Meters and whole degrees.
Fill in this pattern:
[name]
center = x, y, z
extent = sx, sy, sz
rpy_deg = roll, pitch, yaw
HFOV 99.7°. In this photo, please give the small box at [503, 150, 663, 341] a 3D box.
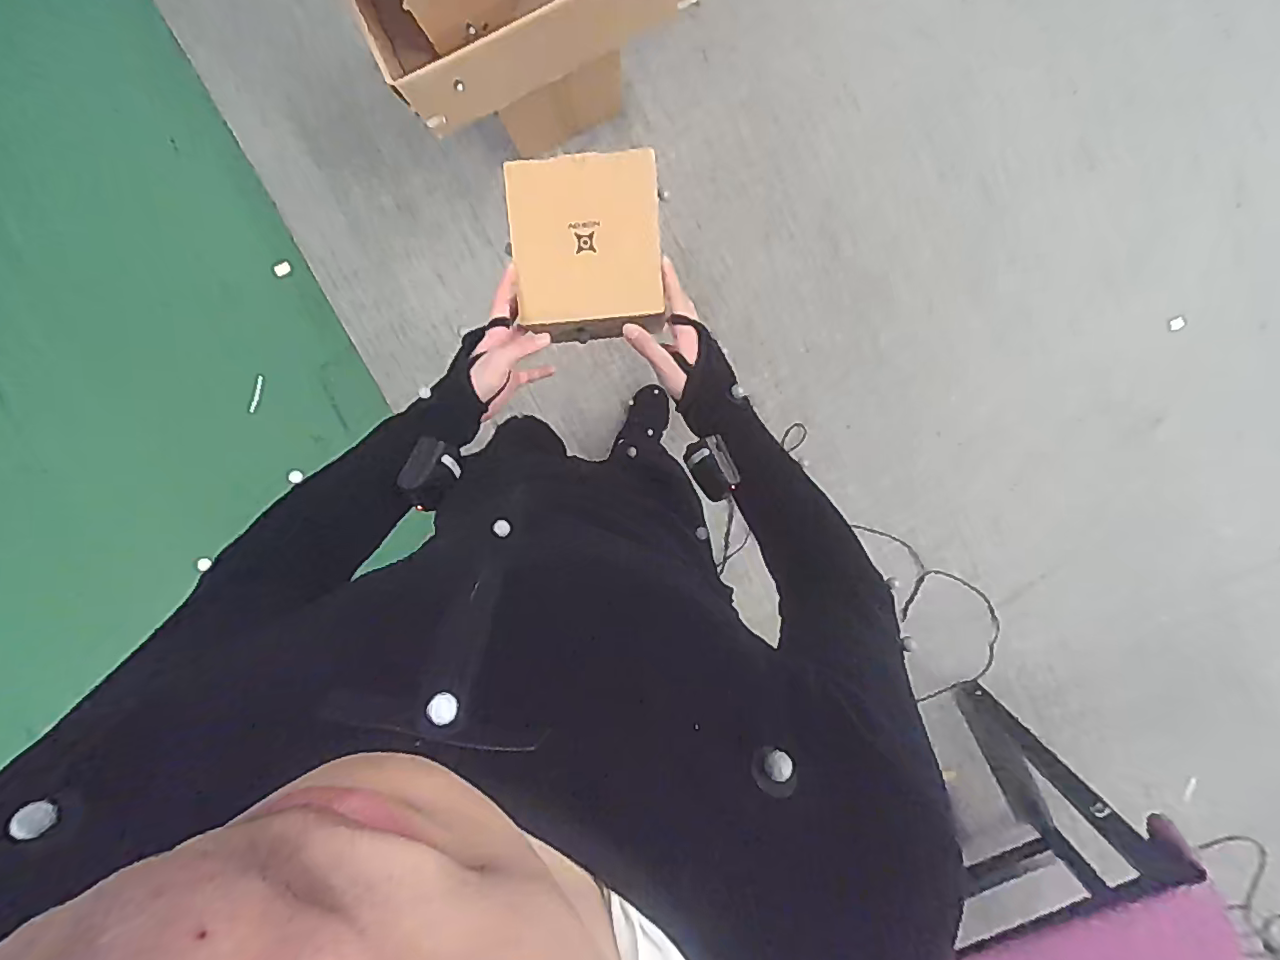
[small box]
center = -0.059, -0.273, 0.673
extent = 0.168, 0.176, 0.179
rpy_deg = -5, 96, 3
